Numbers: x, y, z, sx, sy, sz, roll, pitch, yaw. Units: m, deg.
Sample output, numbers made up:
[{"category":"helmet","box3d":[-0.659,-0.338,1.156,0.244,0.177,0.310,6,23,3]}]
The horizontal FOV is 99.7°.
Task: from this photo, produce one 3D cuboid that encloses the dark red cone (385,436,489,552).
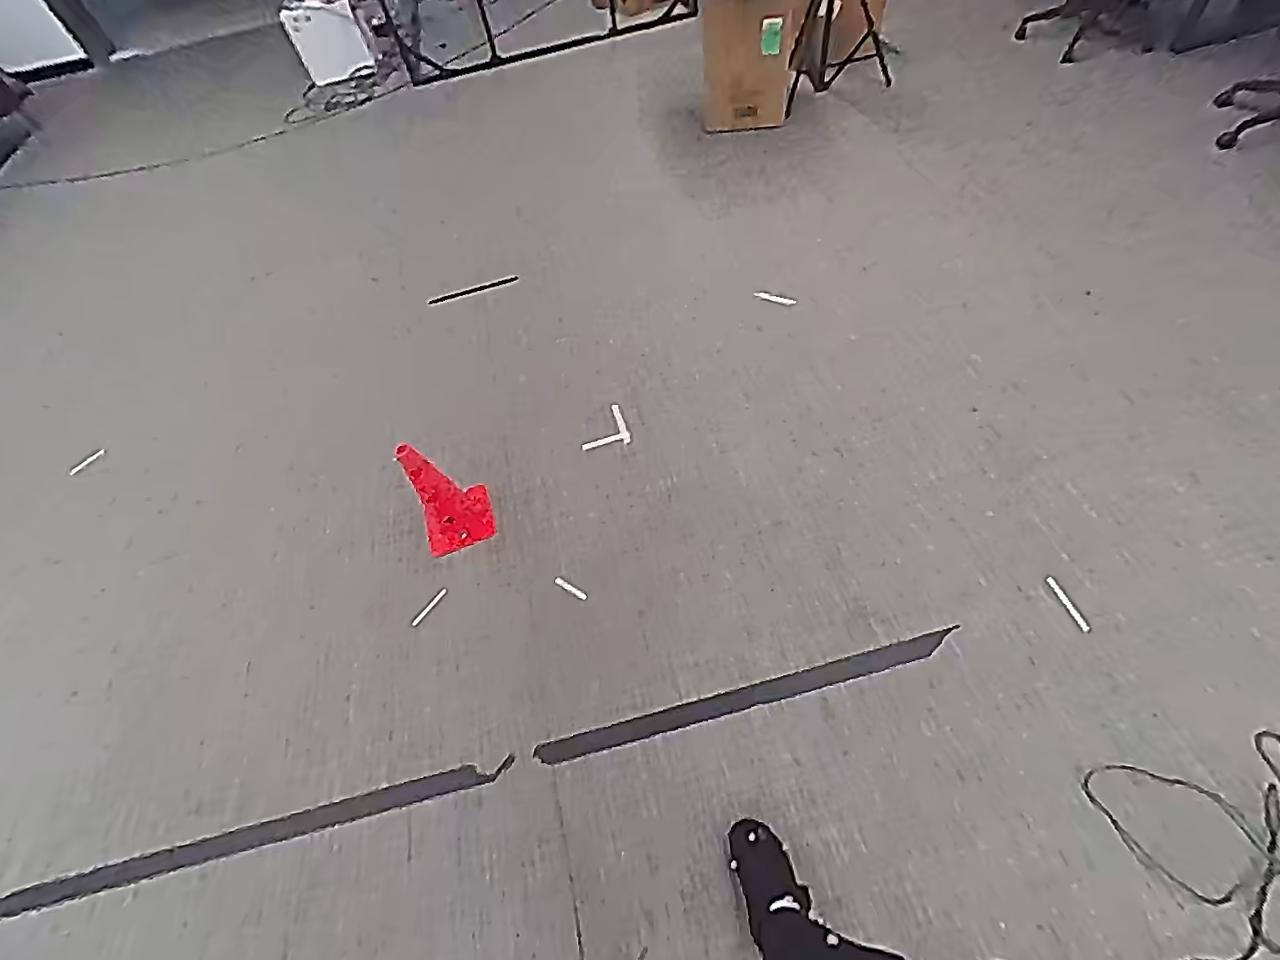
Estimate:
[{"category":"dark red cone","box3d":[-0.578,0.016,1.466,0.202,0.394,0.201,-22,56,-6]}]
